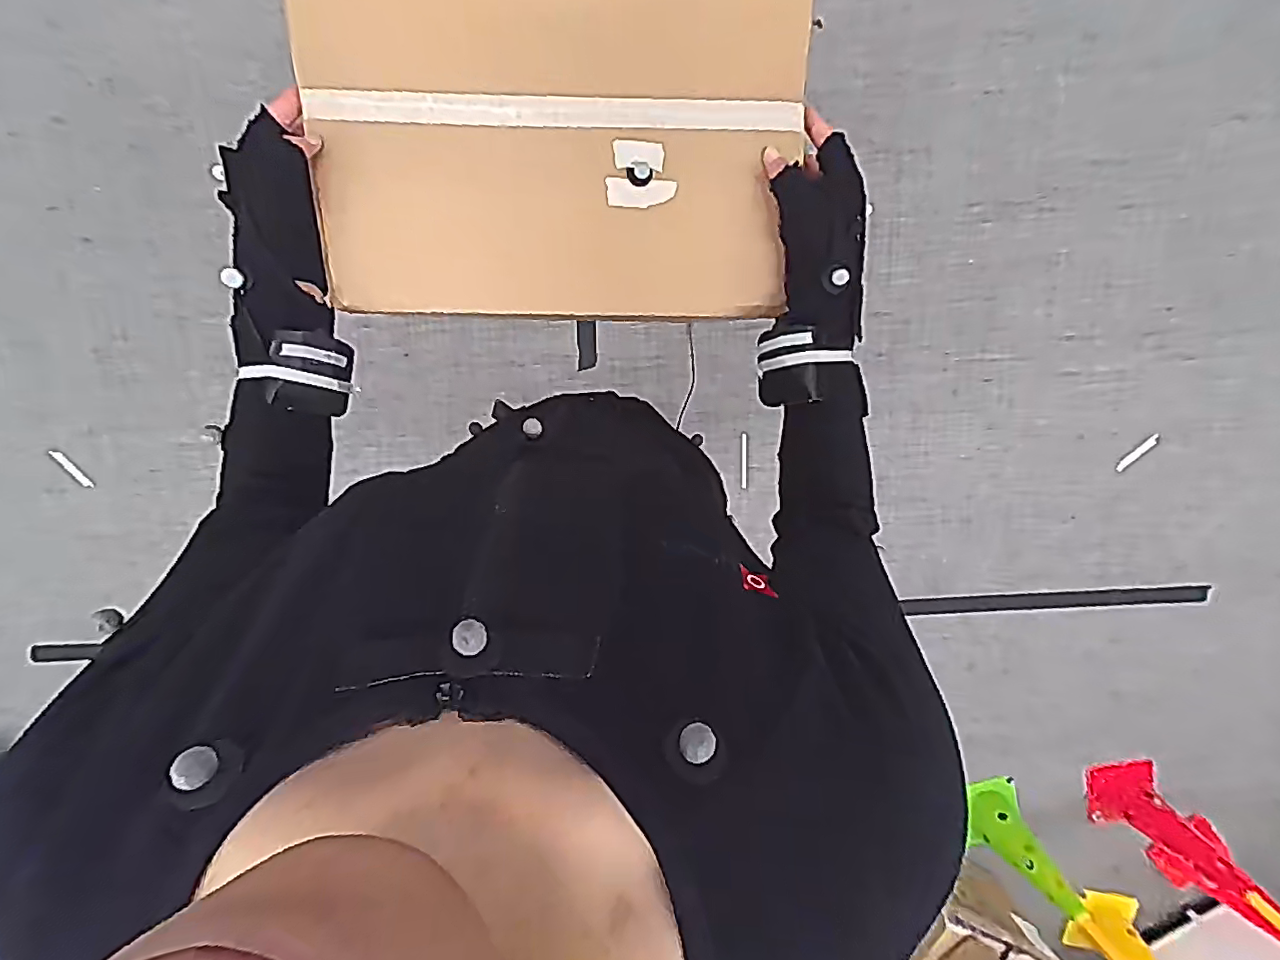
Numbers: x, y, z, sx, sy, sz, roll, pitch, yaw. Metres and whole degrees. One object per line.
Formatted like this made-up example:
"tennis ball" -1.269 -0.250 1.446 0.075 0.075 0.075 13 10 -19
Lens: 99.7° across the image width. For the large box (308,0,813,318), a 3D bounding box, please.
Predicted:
"large box" -0.068 -0.344 0.589 0.408 0.320 0.320 -1 106 -3
